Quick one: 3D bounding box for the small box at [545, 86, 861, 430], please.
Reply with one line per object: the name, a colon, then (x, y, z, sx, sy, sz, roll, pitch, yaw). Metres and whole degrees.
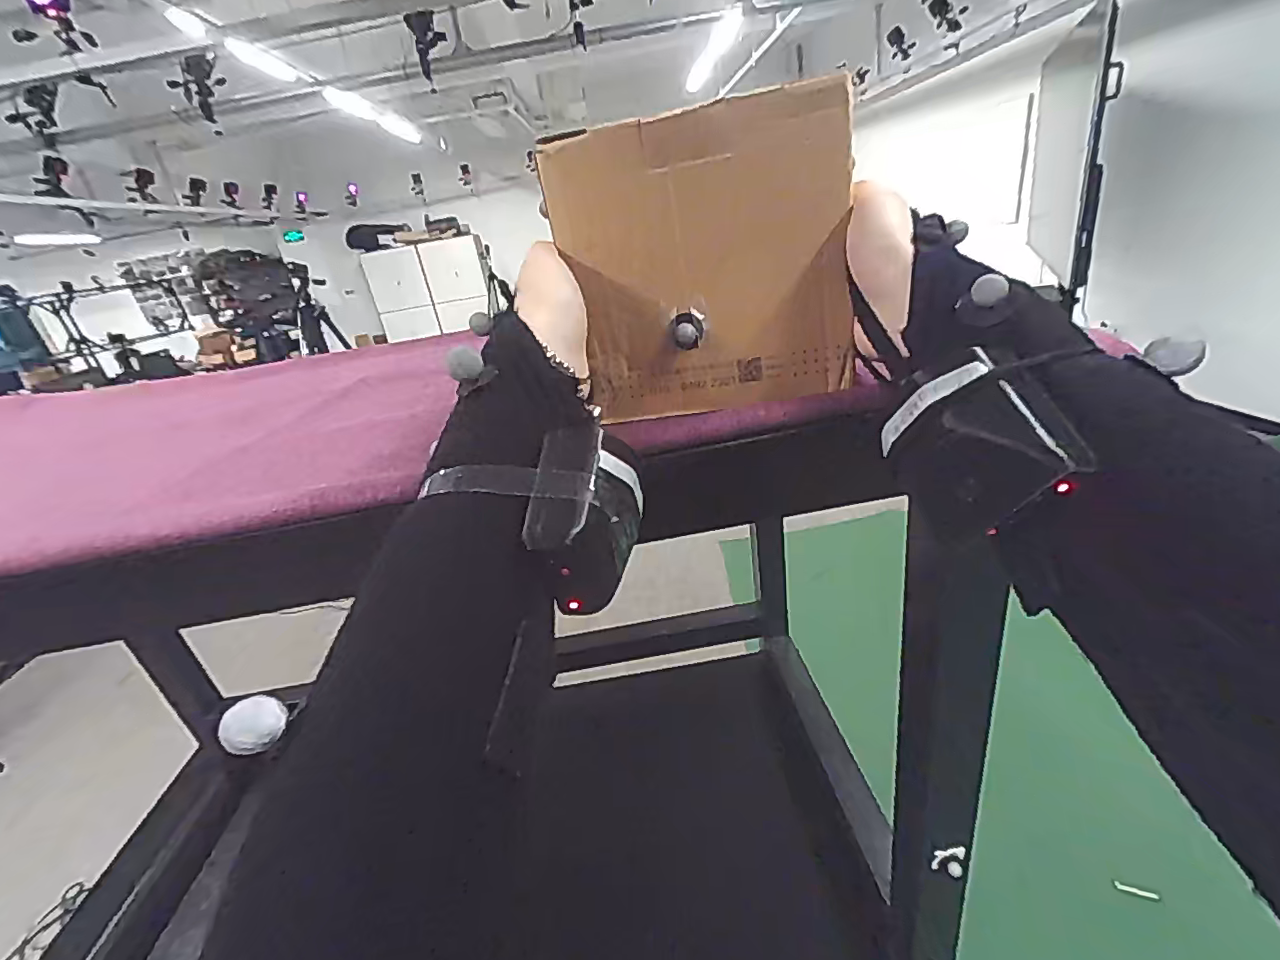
small box: (0.050, -0.147, 0.383, 0.168, 0.176, 0.179, -6, 27, 10)
